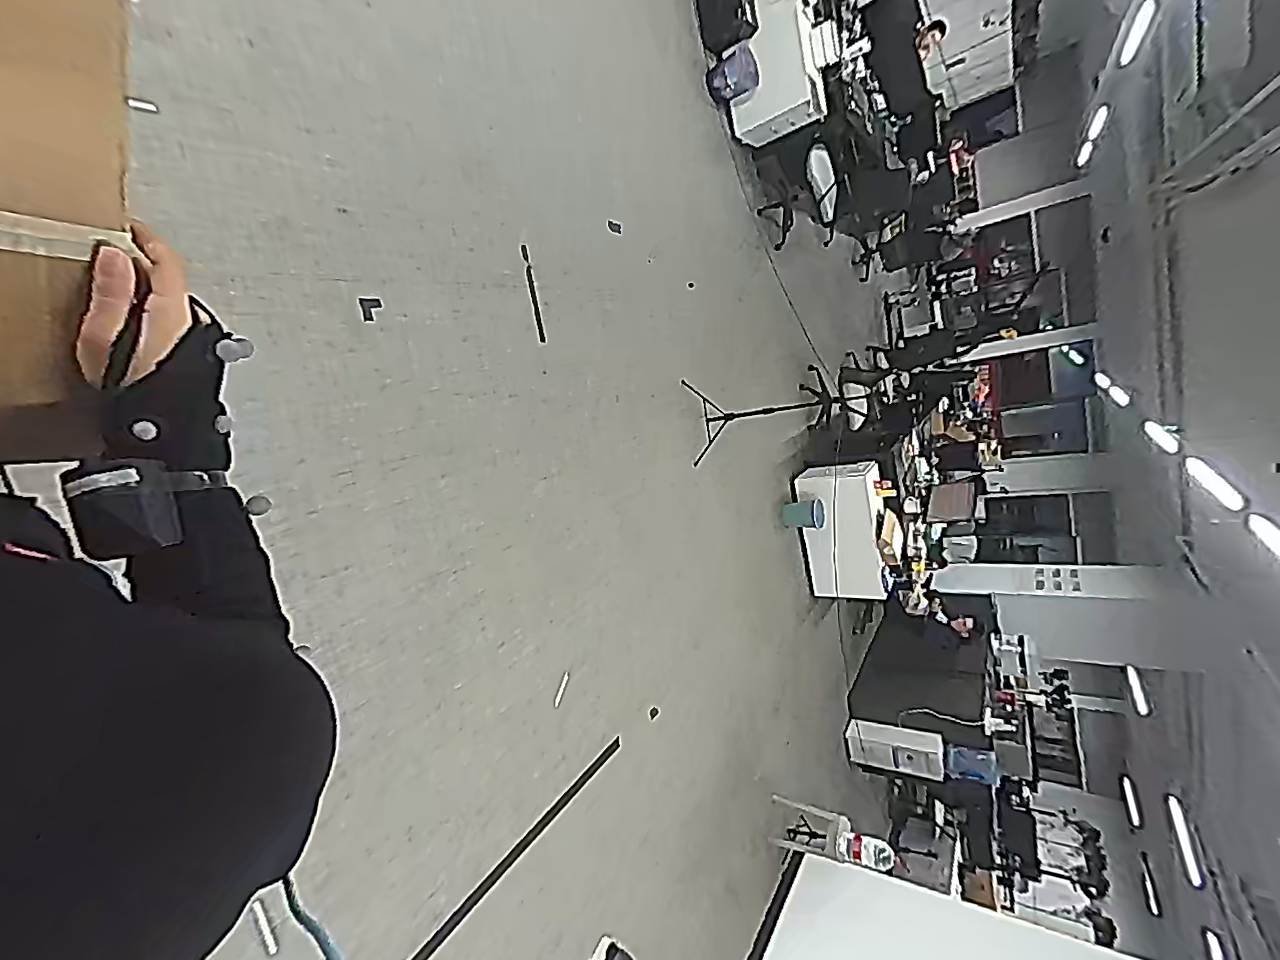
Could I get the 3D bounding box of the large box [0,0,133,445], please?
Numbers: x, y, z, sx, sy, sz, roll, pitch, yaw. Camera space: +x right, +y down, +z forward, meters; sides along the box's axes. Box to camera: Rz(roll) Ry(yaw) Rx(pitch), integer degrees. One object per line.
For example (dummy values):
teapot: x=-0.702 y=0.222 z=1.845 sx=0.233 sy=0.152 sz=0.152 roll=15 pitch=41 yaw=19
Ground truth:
large box: x=-0.559 y=-0.214 z=0.263 sx=0.408 sy=0.320 sz=0.320 roll=-11 pitch=134 yaw=-52
